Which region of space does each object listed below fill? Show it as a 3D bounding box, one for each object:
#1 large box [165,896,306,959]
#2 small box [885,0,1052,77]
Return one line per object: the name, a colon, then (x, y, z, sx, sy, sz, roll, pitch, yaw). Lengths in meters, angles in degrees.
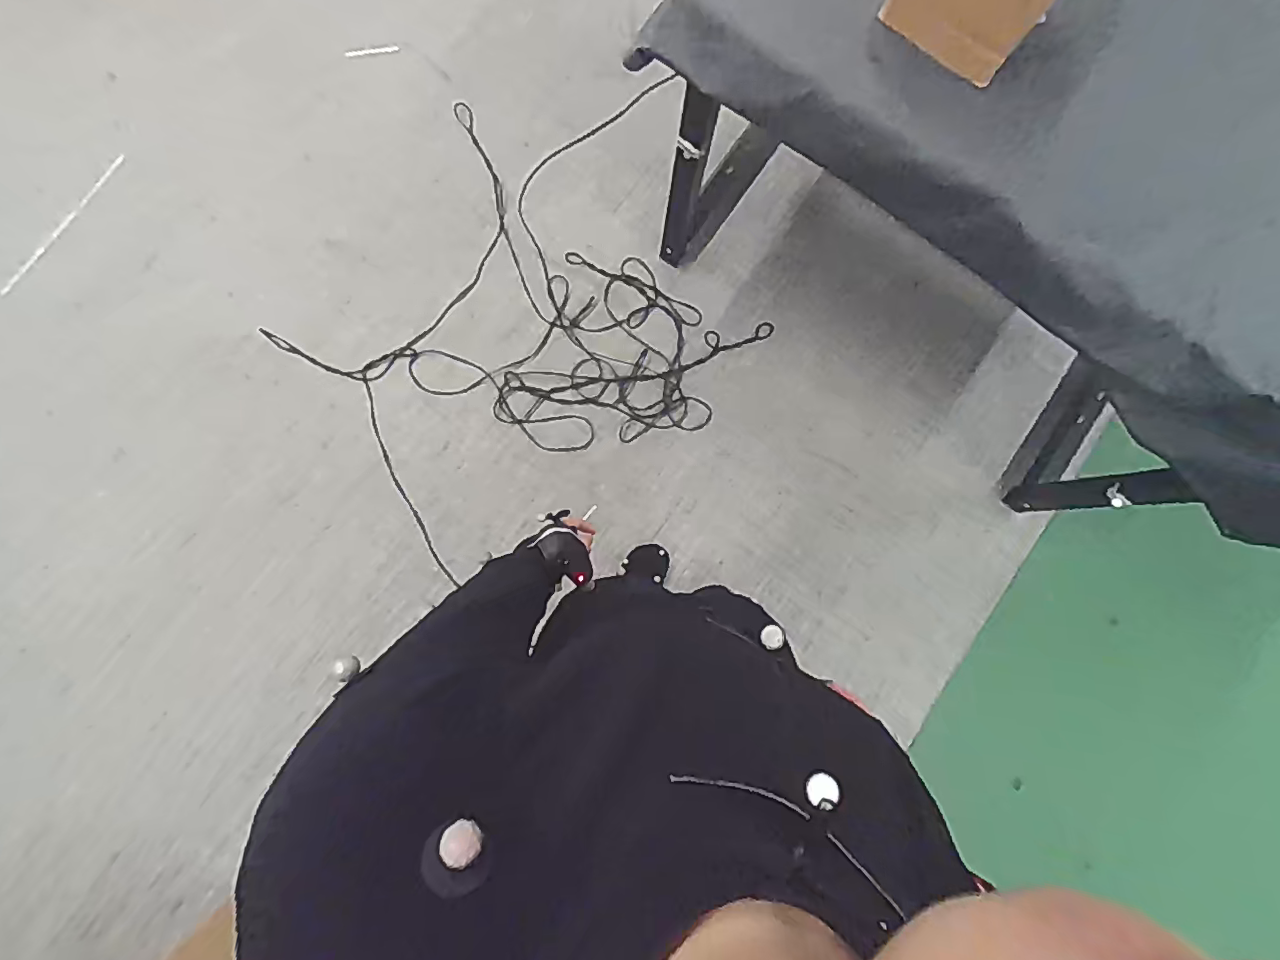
large box: (-0.877, 1.184, 1.082, 0.408, 0.320, 0.320, 42, 83, 4)
small box: (0.438, -0.649, 0.655, 0.179, 0.176, 0.168, 35, 83, 1)
